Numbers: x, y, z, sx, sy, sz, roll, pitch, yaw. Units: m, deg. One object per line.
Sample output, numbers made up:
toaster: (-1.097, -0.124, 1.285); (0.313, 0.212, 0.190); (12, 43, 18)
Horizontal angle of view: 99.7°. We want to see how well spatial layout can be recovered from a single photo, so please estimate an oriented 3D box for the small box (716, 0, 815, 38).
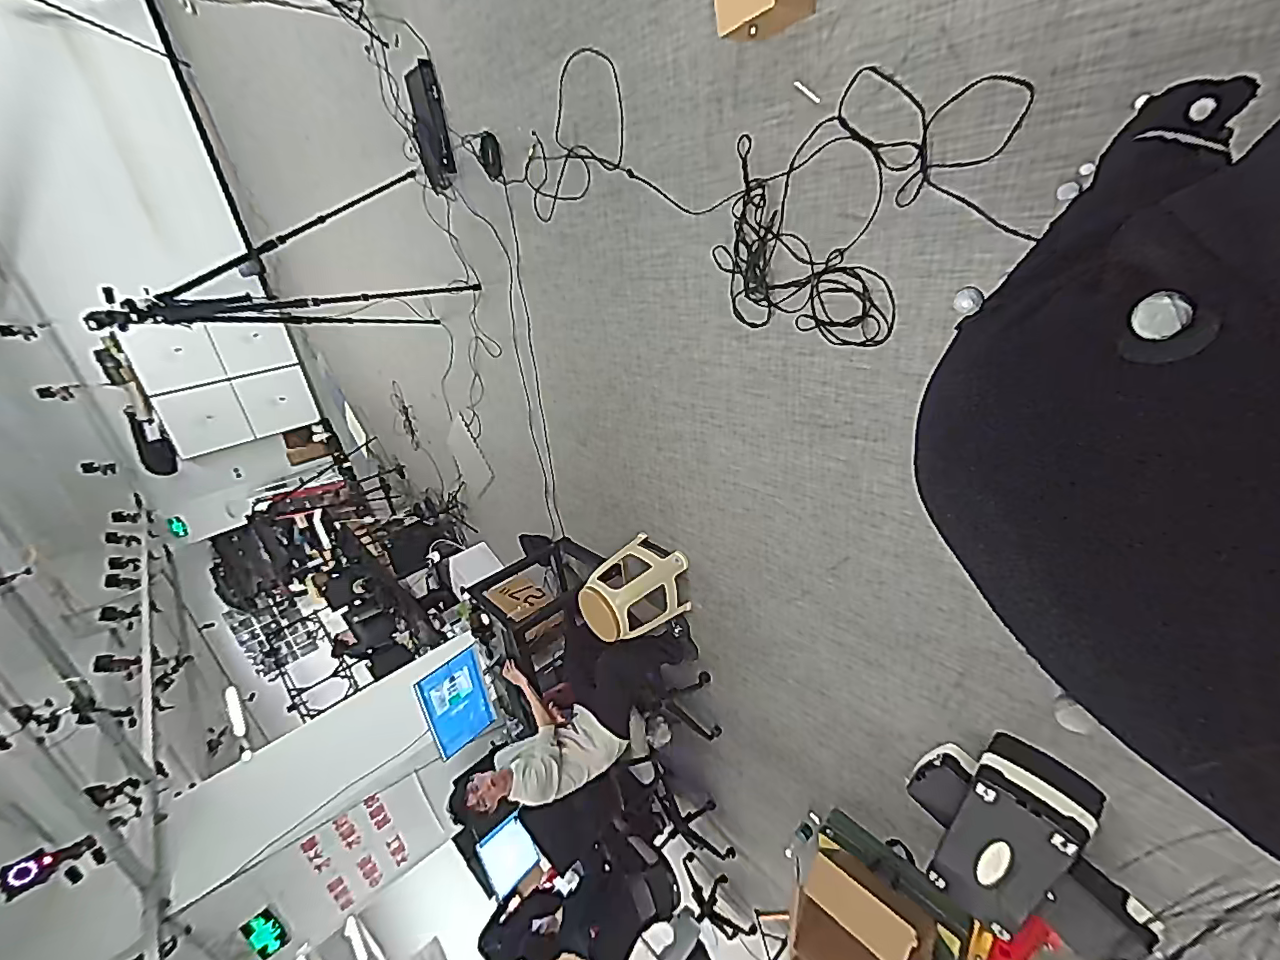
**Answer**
small box: (0.300, -1.211, 1.315); (0.179, 0.176, 0.168); (13, 123, 48)
